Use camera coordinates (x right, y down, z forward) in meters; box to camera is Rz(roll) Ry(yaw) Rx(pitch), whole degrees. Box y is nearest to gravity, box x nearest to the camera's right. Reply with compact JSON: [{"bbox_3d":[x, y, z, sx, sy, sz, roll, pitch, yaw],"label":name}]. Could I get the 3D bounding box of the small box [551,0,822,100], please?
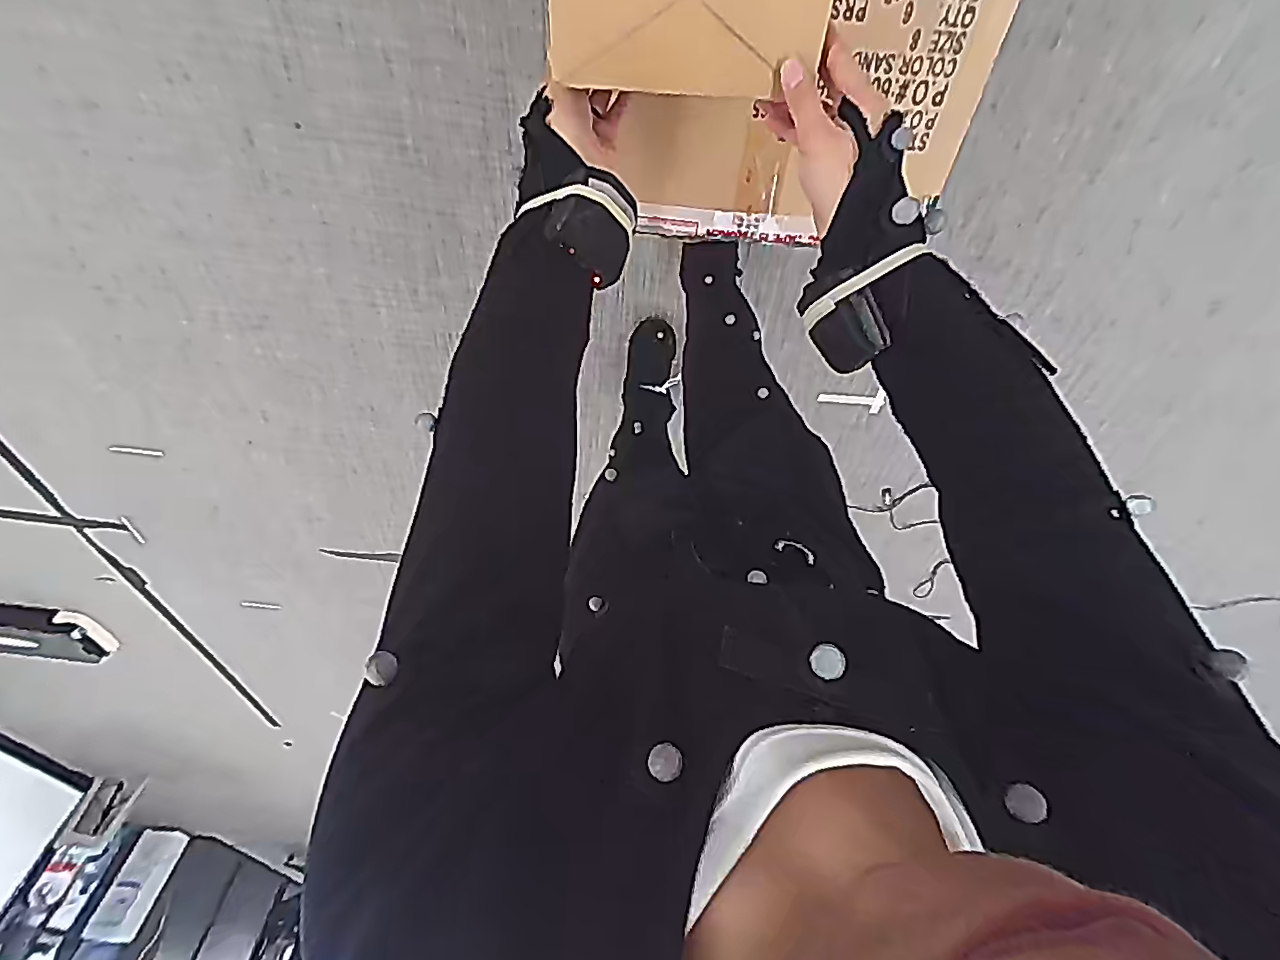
[{"bbox_3d":[0.035,-0.378,0.369,0.179,0.176,0.168,3,136,-2],"label":"small box"}]
